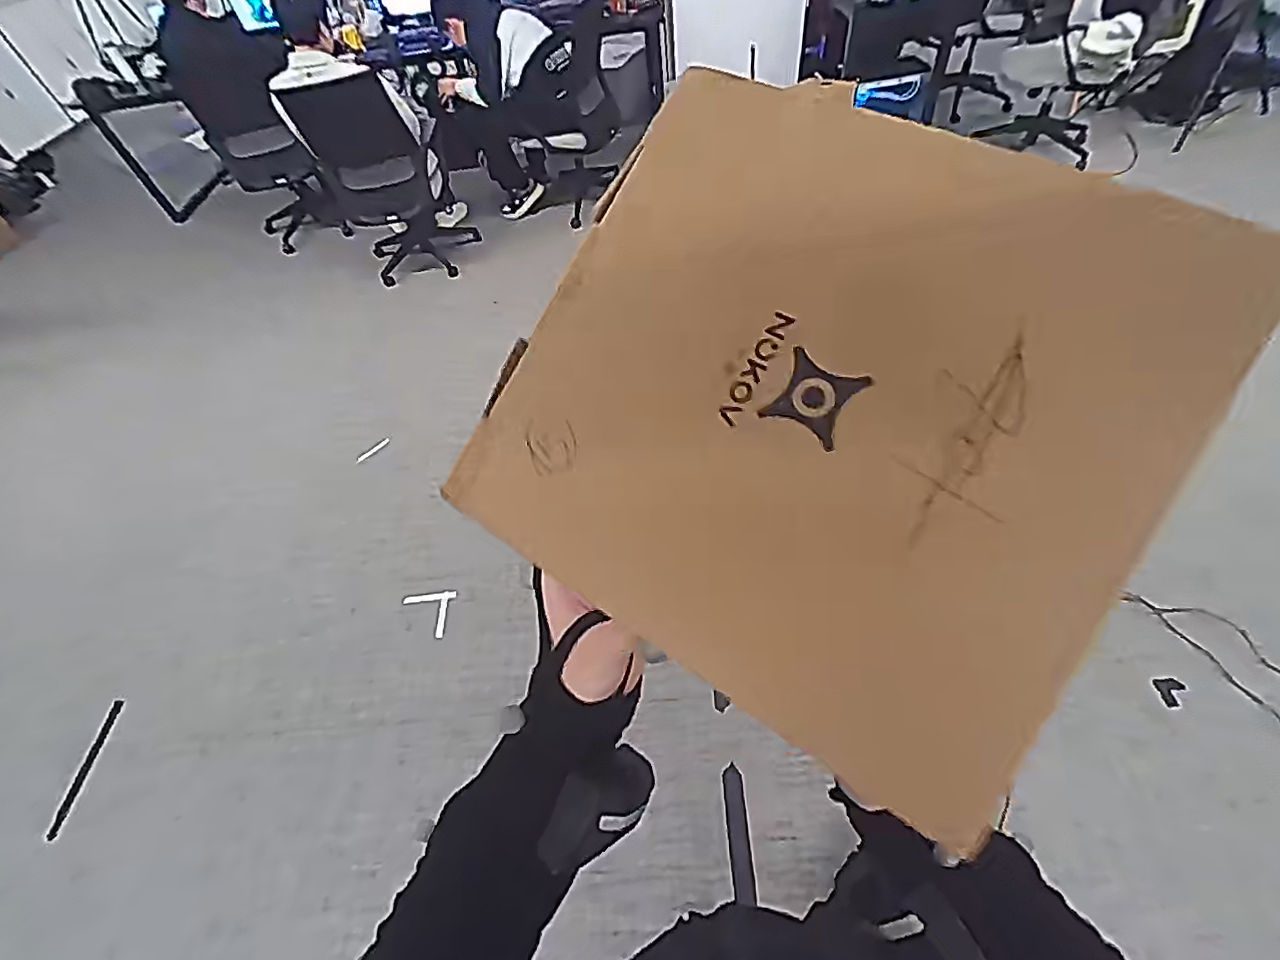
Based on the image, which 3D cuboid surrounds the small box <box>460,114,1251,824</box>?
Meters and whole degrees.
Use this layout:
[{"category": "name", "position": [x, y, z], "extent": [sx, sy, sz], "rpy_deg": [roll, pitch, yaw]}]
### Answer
[{"category": "small box", "position": [0.067, -0.008, 0.239], "extent": [0.179, 0.176, 0.168], "rpy_deg": [28, 91, 17]}]
